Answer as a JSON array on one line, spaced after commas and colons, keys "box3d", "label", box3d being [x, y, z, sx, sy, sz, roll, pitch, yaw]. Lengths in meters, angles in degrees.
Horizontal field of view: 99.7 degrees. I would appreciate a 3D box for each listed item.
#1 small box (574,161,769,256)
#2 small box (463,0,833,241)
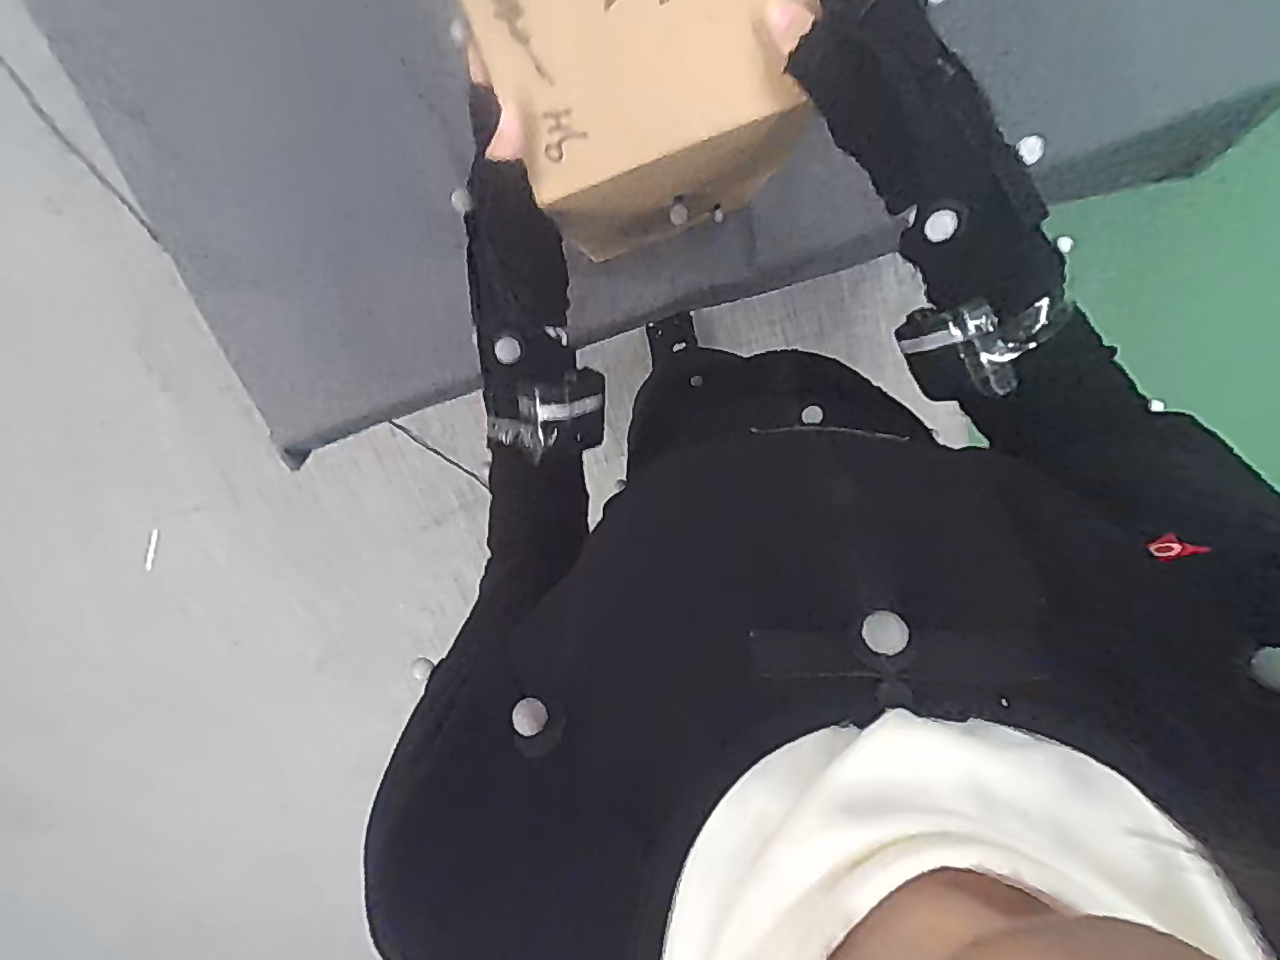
[{"box3d": [0.001, -0.327, 0.507, 0.179, 0.176, 0.168, -19, 105, 8], "label": "small box"}, {"box3d": [-0.003, -0.275, 0.350, 0.179, 0.176, 0.168, -18, 104, 5], "label": "small box"}]
